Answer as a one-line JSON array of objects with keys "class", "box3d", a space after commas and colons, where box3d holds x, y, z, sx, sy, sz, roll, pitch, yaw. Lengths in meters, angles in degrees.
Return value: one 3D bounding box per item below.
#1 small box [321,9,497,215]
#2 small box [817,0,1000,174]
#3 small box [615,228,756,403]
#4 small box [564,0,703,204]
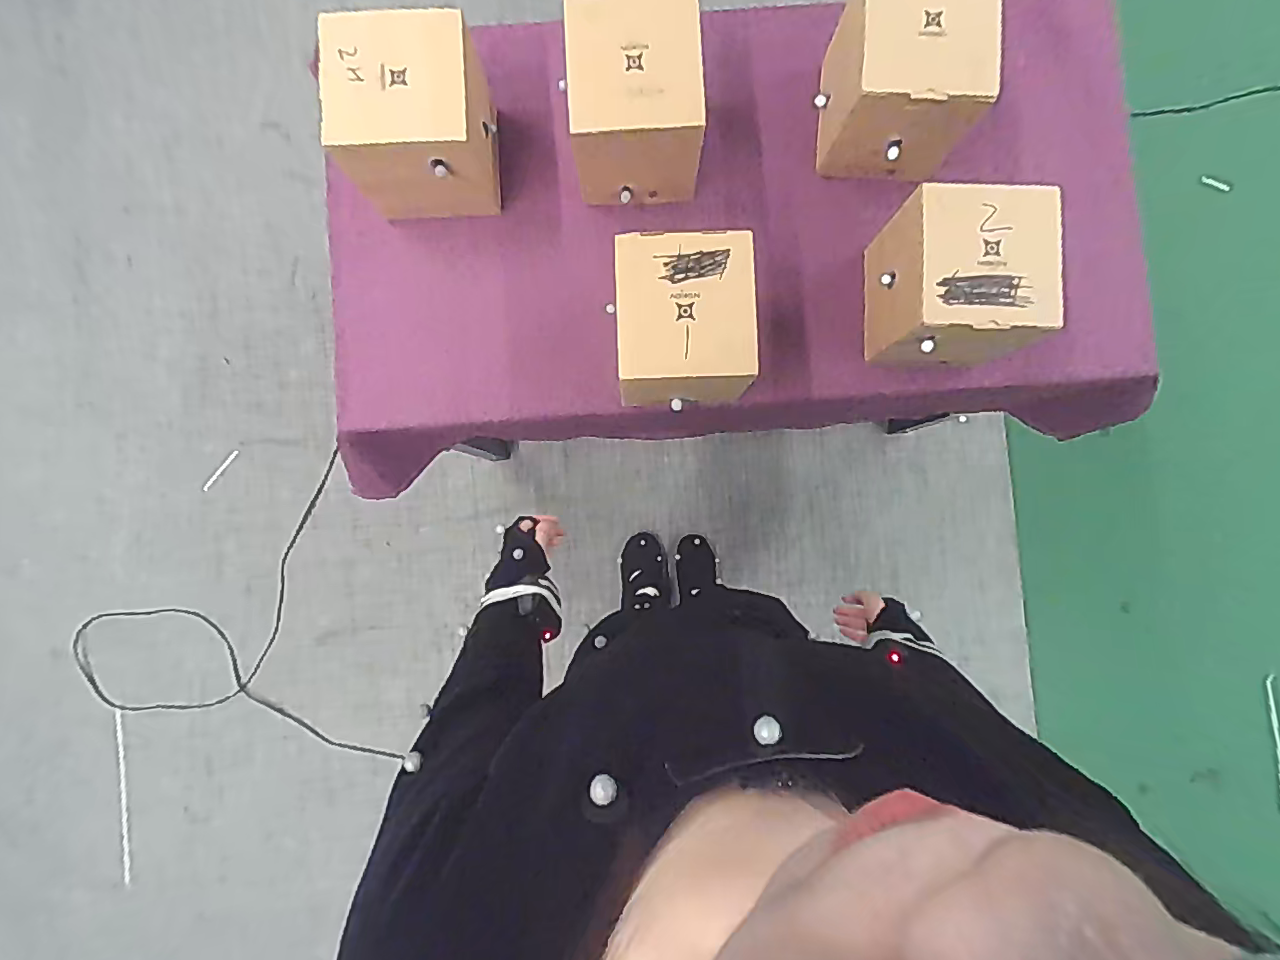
[{"class": "small box", "box3d": [-0.295, -0.480, 0.728, 0.179, 0.176, 0.168, -3, 87, 0]}, {"class": "small box", "box3d": [0.346, -0.542, 0.726, 0.168, 0.176, 0.179, 3, 88, 0]}, {"class": "small box", "box3d": [0.052, -0.205, 0.712, 0.168, 0.176, 0.179, -2, 87, 1]}, {"class": "small box", "box3d": [-0.008, -0.504, 0.729, 0.168, 0.176, 0.179, -2, 88, 1]}]
